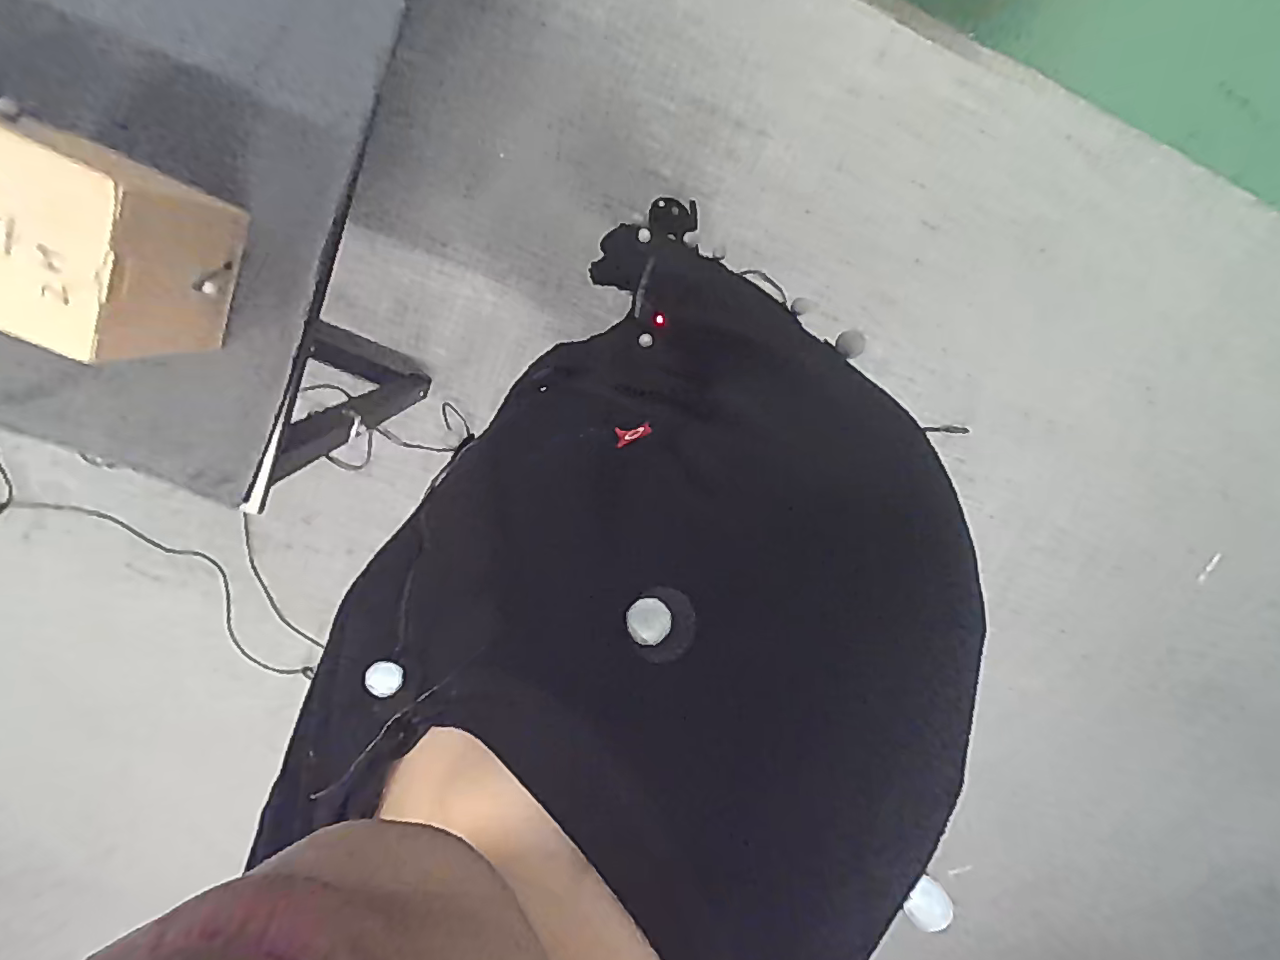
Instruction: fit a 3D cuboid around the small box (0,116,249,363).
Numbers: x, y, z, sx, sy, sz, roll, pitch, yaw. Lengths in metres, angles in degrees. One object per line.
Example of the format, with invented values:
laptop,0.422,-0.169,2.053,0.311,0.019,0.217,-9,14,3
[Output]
small box,-0.544,-0.232,0.536,0.179,0.176,0.168,23,106,-9
